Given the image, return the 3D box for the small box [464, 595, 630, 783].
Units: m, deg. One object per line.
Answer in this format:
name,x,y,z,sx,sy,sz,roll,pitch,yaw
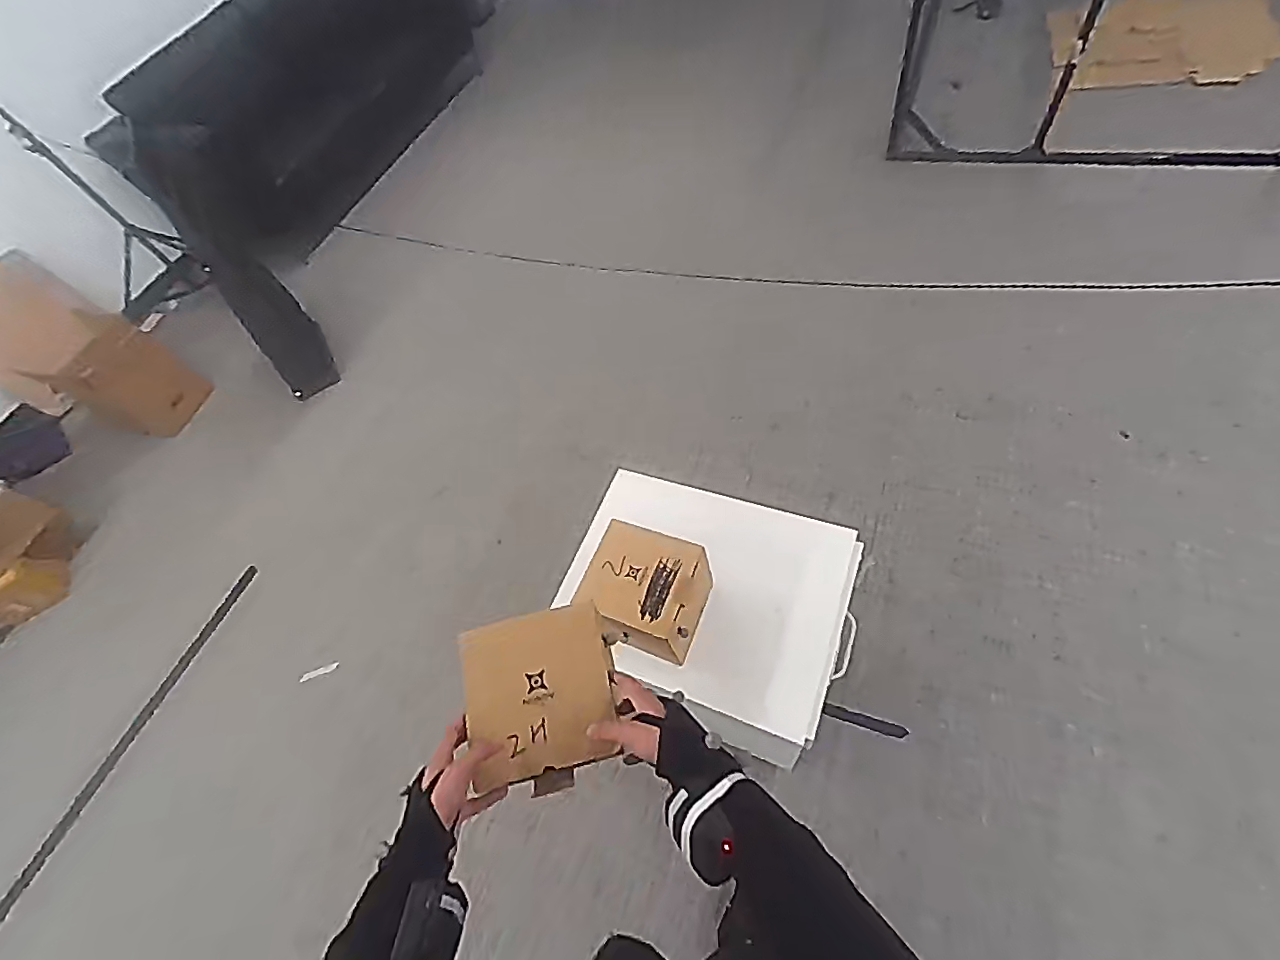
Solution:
small box,-0.111,0.266,0.686,0.168,0.176,0.179,-13,65,-3
